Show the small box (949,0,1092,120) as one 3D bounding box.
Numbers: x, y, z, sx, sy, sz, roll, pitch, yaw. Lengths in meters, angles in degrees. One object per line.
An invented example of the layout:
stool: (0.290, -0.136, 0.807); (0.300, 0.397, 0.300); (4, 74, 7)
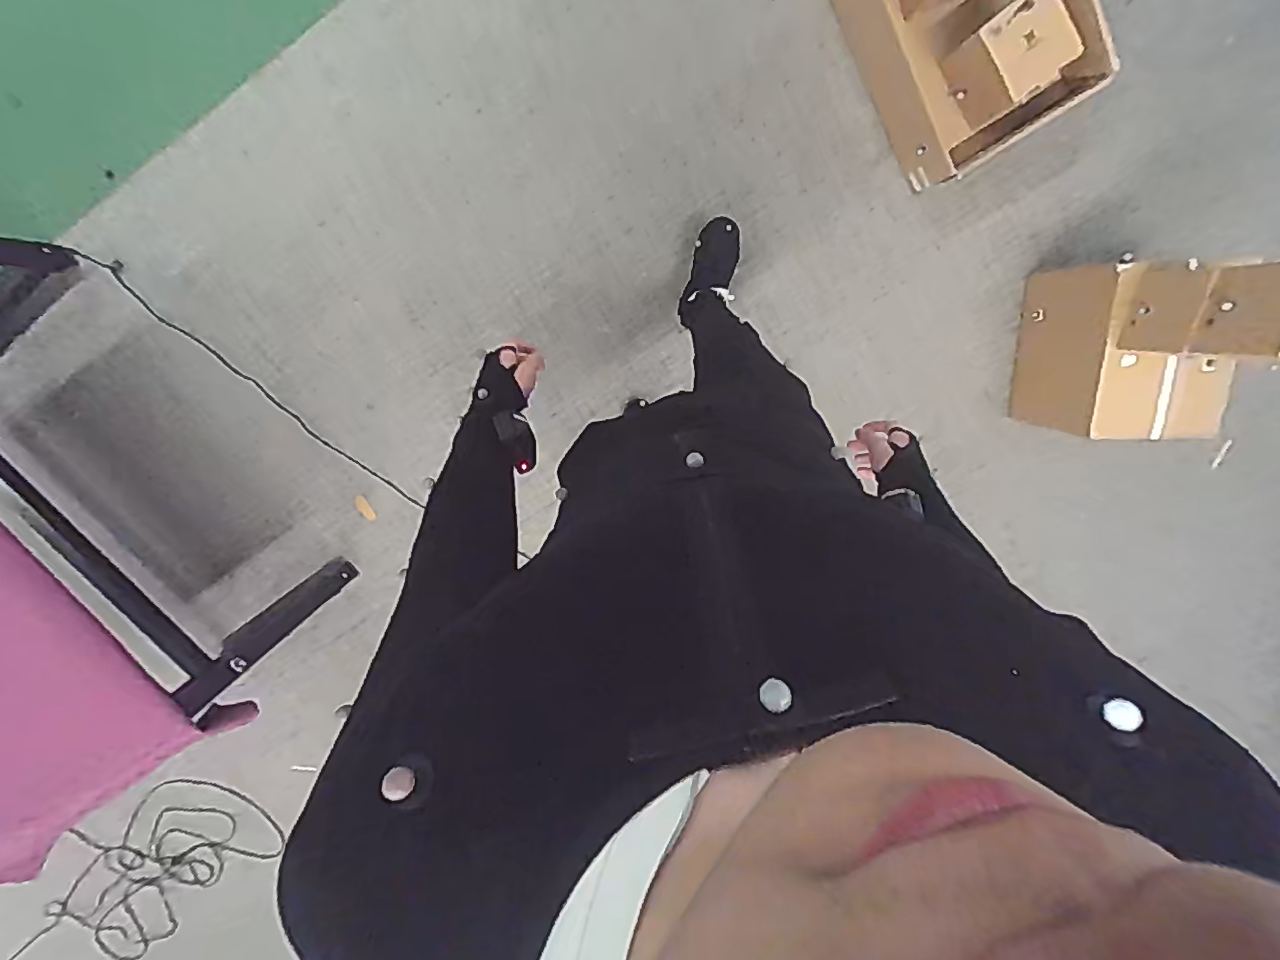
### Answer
small box: (0.846, -0.953, 1.219); (0.168, 0.176, 0.179); (-35, 103, 10)

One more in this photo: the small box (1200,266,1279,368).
small box: (1.190, -0.286, 0.963); (0.179, 0.176, 0.168); (9, 106, 0)
